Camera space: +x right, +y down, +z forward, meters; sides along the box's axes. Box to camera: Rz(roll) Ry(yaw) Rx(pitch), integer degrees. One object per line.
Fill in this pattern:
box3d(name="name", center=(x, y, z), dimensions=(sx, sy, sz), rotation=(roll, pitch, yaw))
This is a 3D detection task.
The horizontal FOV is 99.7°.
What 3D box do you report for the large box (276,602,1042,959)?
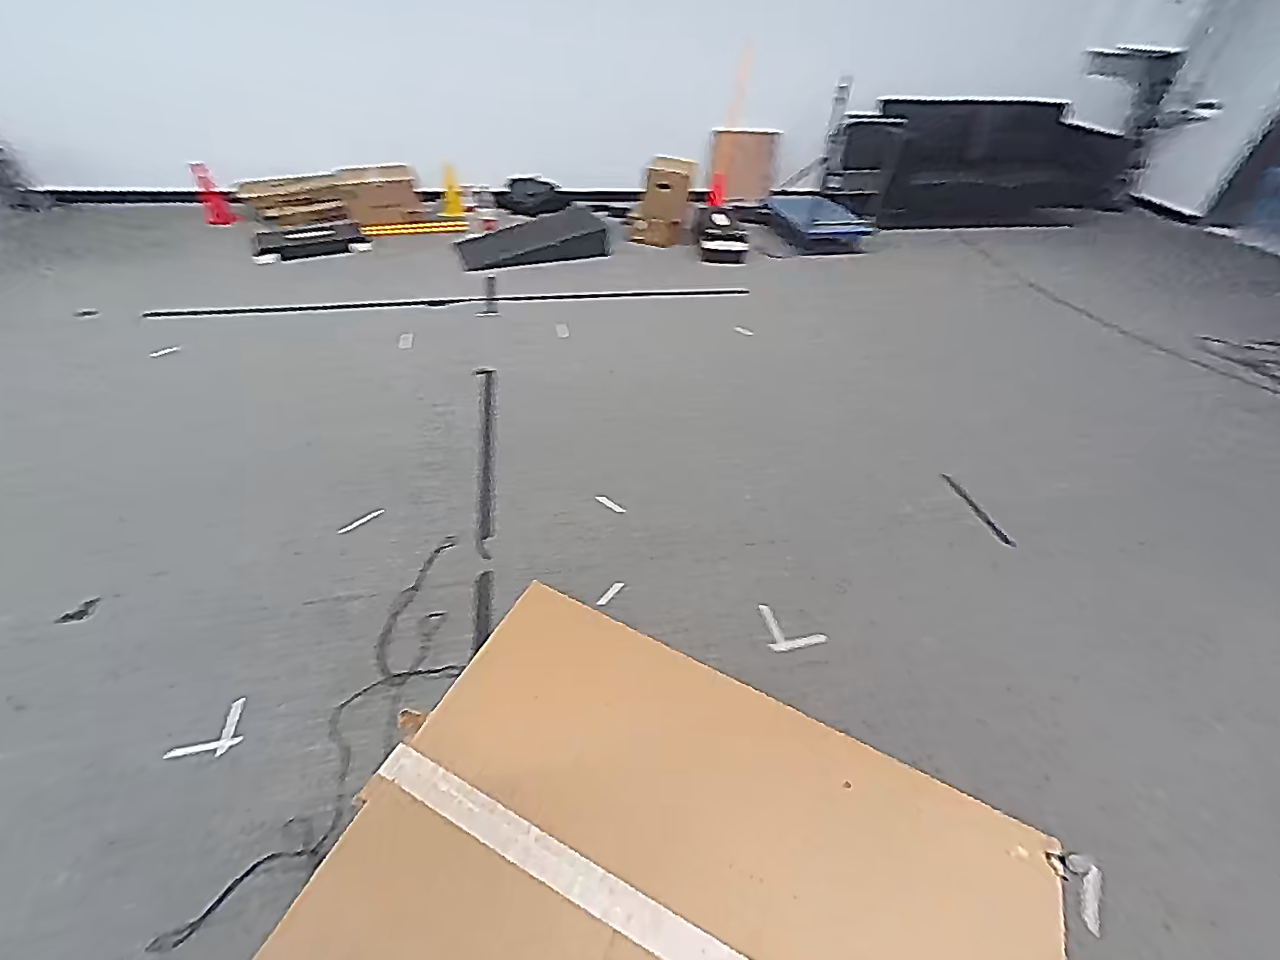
box3d(name="large box", center=(0.008, 0.366, 0.420), dimensions=(0.408, 0.320, 0.320), rotation=(22, 50, 13))
